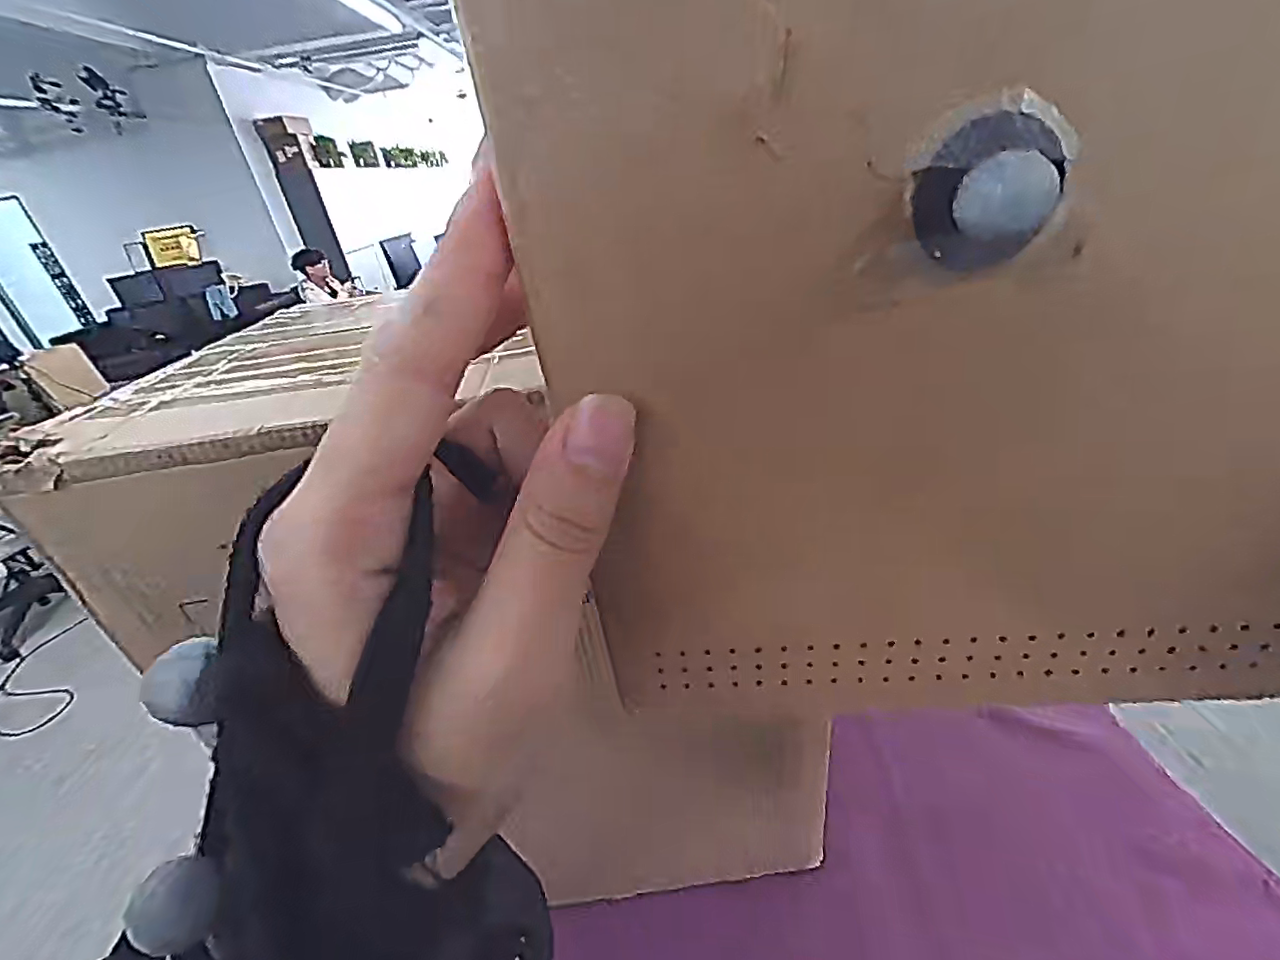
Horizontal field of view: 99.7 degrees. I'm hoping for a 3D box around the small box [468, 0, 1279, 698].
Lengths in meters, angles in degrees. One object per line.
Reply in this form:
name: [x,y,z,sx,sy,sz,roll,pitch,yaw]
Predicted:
small box: [0.076,-0.051,0.173,0.179,0.176,0.168,-5,31,7]
